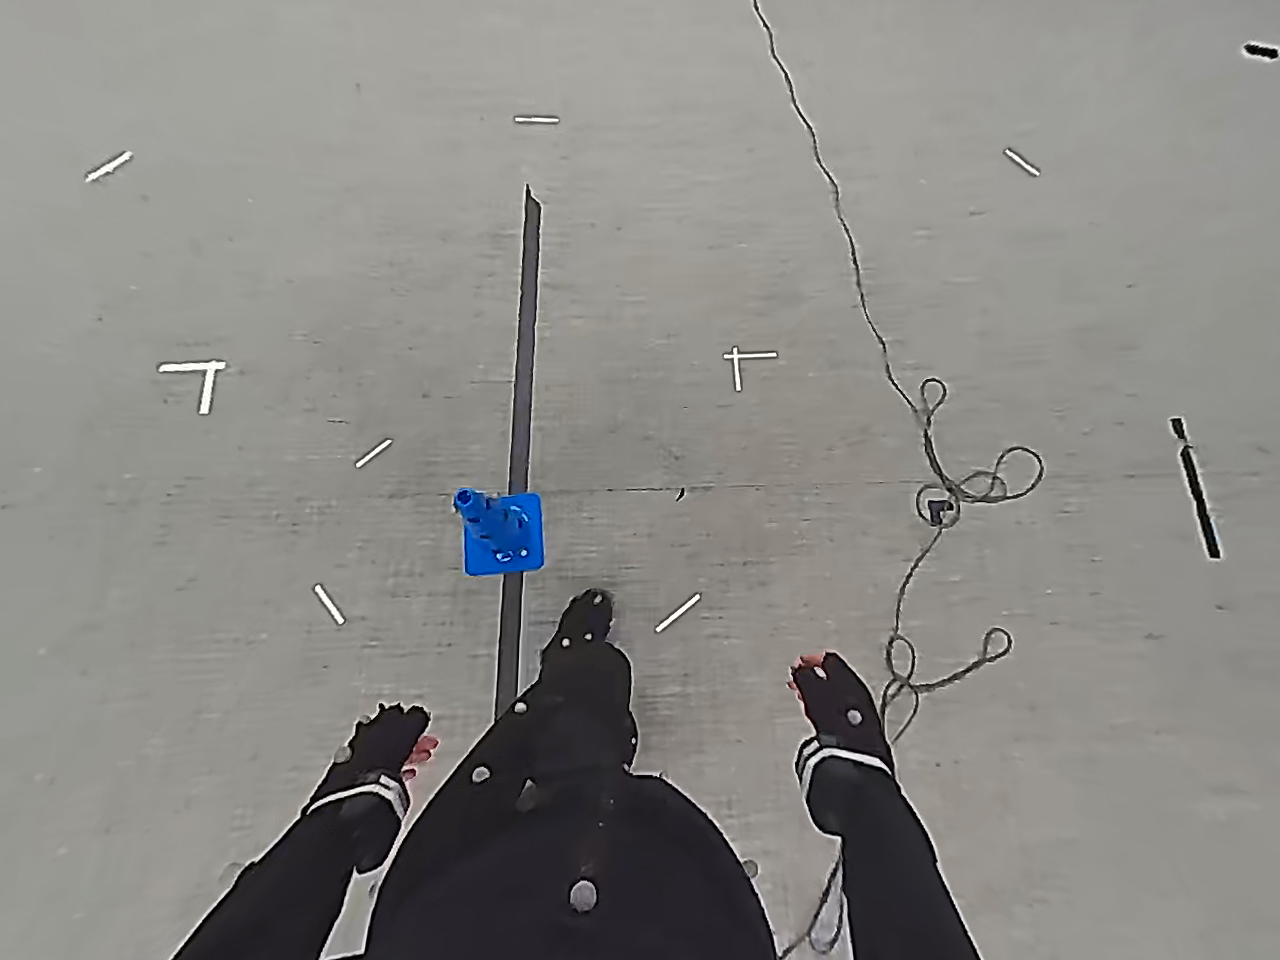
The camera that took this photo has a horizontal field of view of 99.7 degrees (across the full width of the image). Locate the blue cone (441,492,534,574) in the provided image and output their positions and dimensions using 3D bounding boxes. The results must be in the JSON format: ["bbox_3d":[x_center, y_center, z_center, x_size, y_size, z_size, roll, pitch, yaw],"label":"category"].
[{"bbox_3d":[-0.364,0.091,1.228,0.192,0.380,0.193,-4,73,-2],"label":"blue cone"}]
